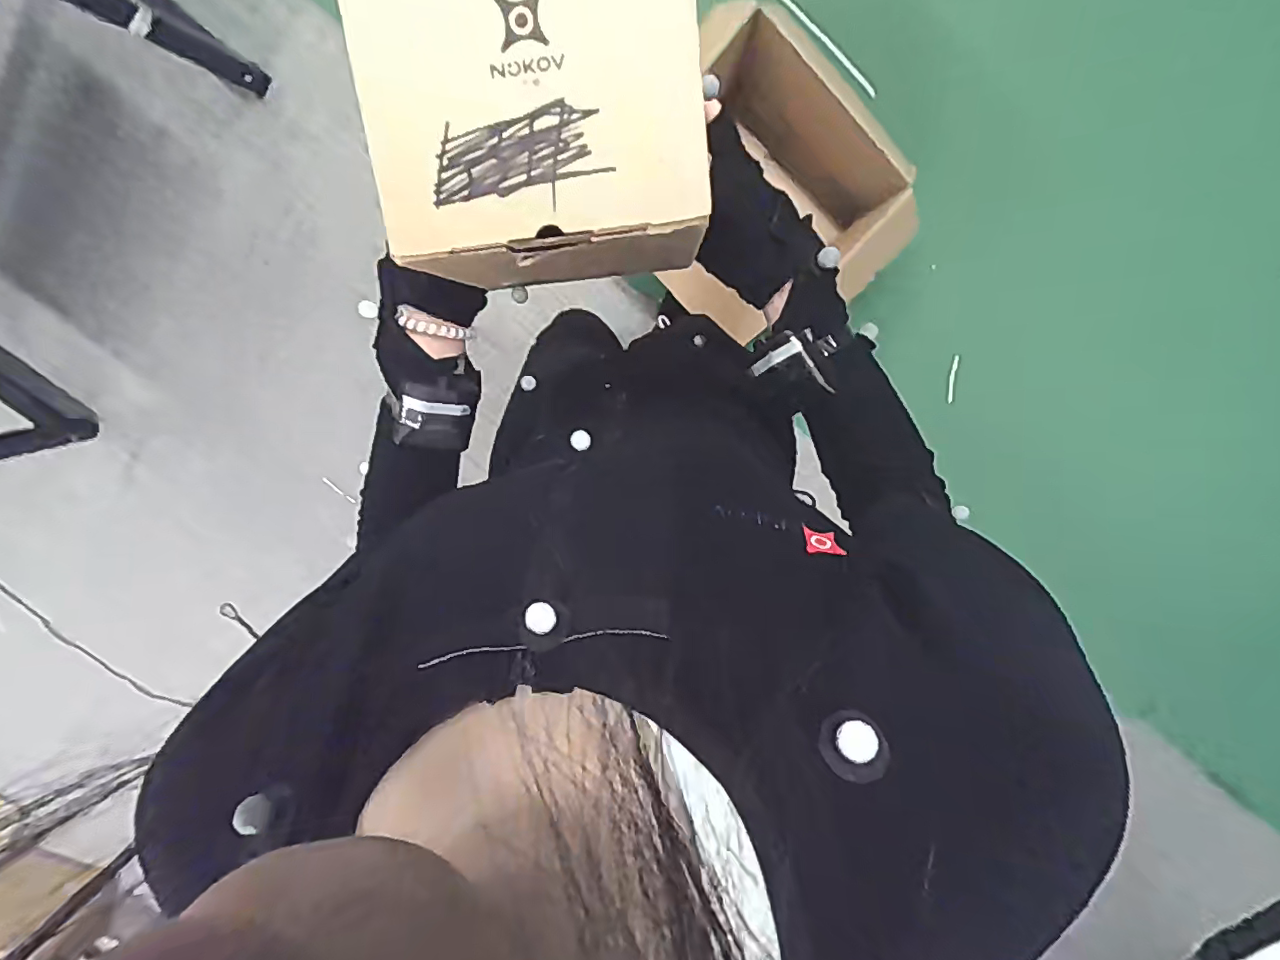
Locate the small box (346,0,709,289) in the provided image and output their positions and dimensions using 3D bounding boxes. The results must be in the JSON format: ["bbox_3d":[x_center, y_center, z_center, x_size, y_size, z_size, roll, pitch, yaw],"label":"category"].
[{"bbox_3d":[-0.050,-0.219,0.334,0.168,0.176,0.179,-6,104,3],"label":"small box"}]
